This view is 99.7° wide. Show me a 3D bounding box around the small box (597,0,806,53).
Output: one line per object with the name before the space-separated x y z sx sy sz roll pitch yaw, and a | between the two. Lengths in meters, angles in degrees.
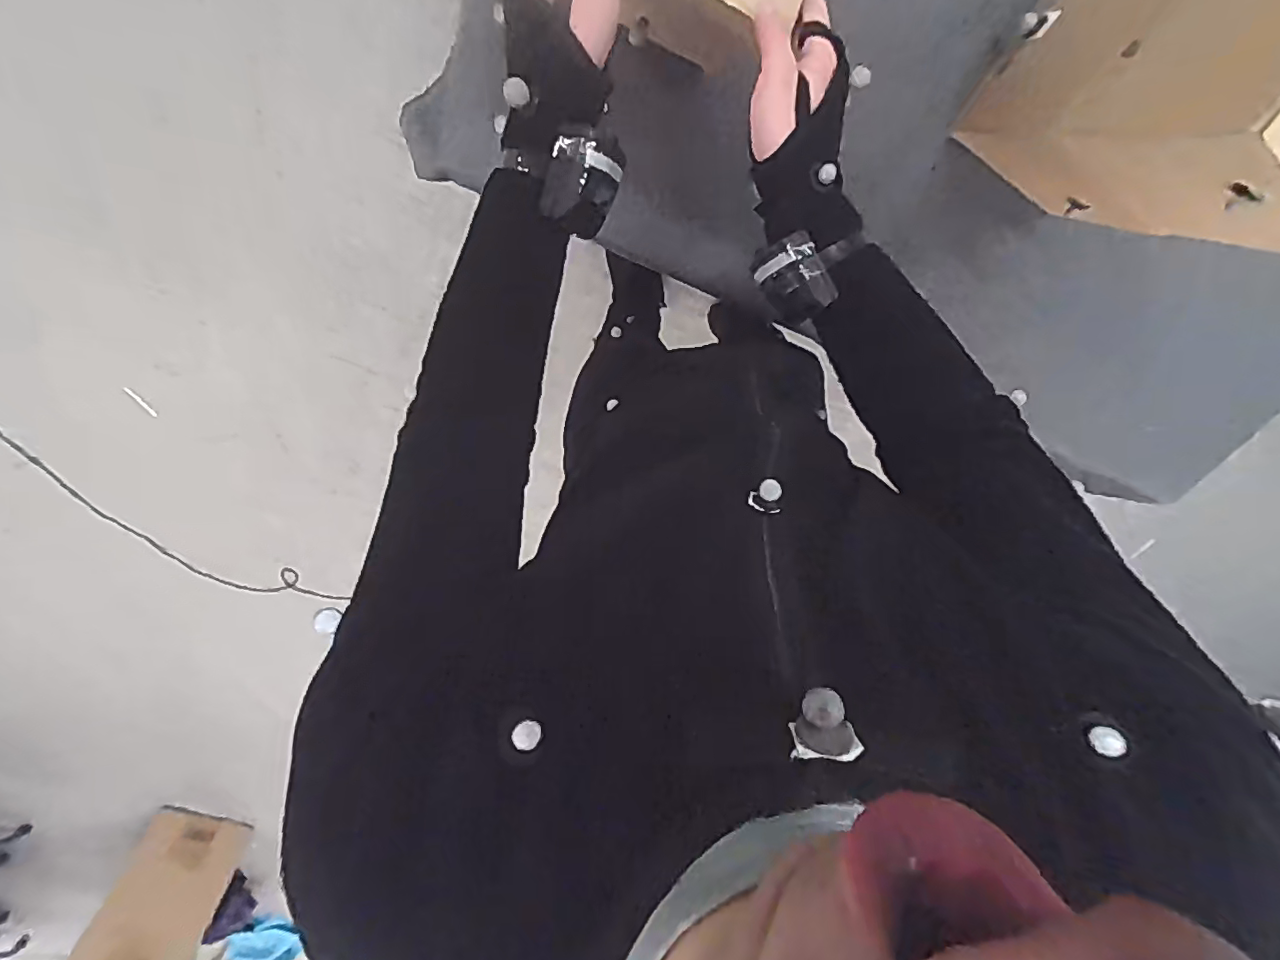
small box | 0.039 -0.441 0.386 0.179 0.176 0.168 12 116 -22

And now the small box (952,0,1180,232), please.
small box | 0.447 -0.364 0.503 0.179 0.176 0.168 23 118 -17
